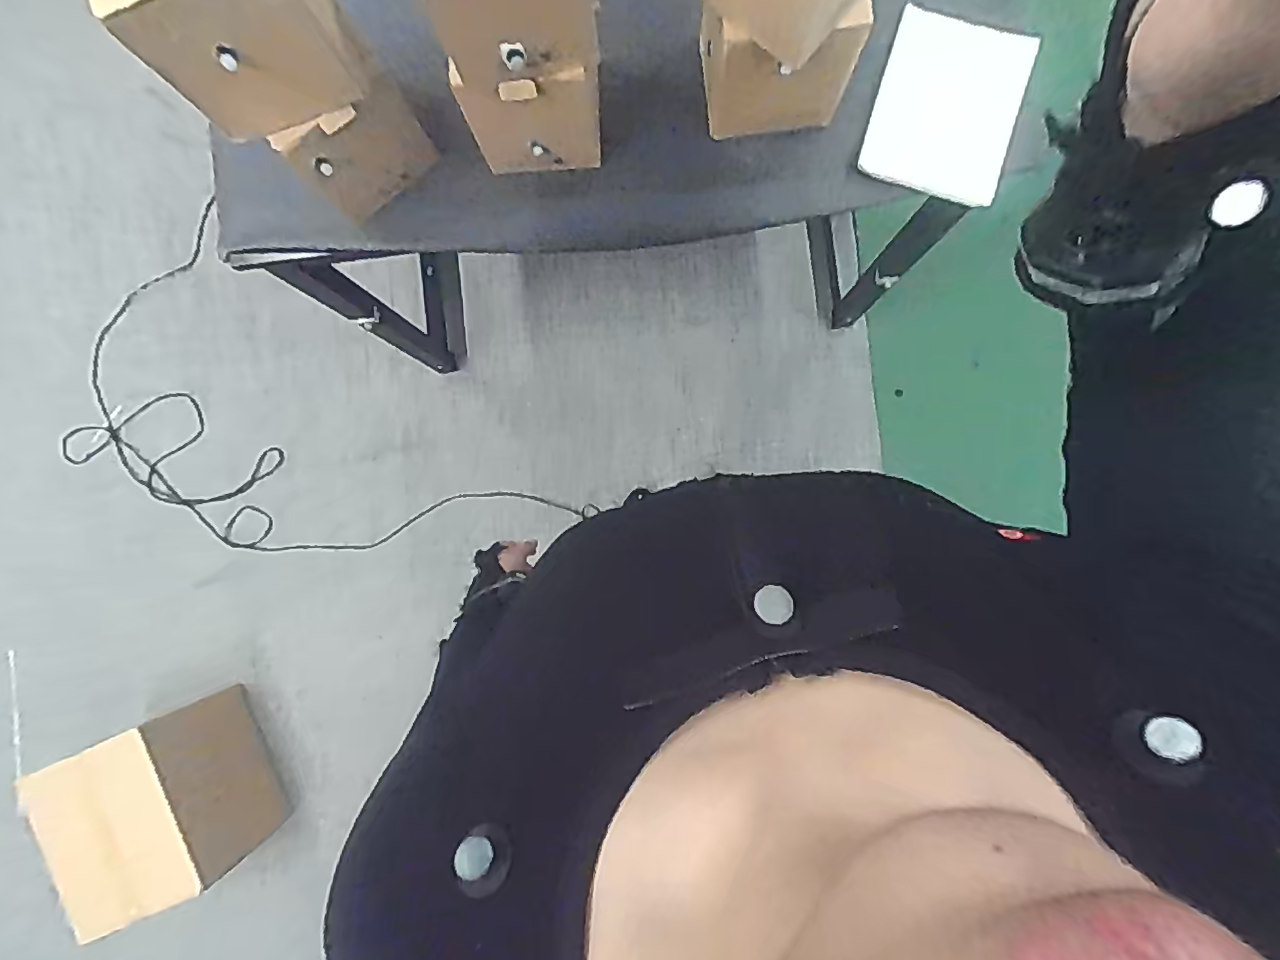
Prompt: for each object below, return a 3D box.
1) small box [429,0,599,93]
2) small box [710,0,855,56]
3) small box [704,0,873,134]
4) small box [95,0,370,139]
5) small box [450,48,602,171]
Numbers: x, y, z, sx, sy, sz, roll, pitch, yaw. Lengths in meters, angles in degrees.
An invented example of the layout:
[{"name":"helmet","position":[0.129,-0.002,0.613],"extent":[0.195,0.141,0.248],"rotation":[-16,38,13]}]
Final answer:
[{"name":"small box","position":[-0.148,-0.565,0.569],"extent":[0.168,0.176,0.179],"rotation":[-14,86,3]},{"name":"small box","position":[0.163,-0.599,0.554],"extent":[0.179,0.176,0.168],"rotation":[41,90,5]},{"name":"small box","position":[0.184,-0.600,0.718],"extent":[0.179,0.176,0.168],"rotation":[-6,86,4]},{"name":"small box","position":[-0.433,-0.513,0.579],"extent":[0.179,0.176,0.168],"rotation":[-20,86,3]},{"name":"small box","position":[-0.144,-0.555,0.731],"extent":[0.168,0.176,0.179],"rotation":[-2,86,4]}]
